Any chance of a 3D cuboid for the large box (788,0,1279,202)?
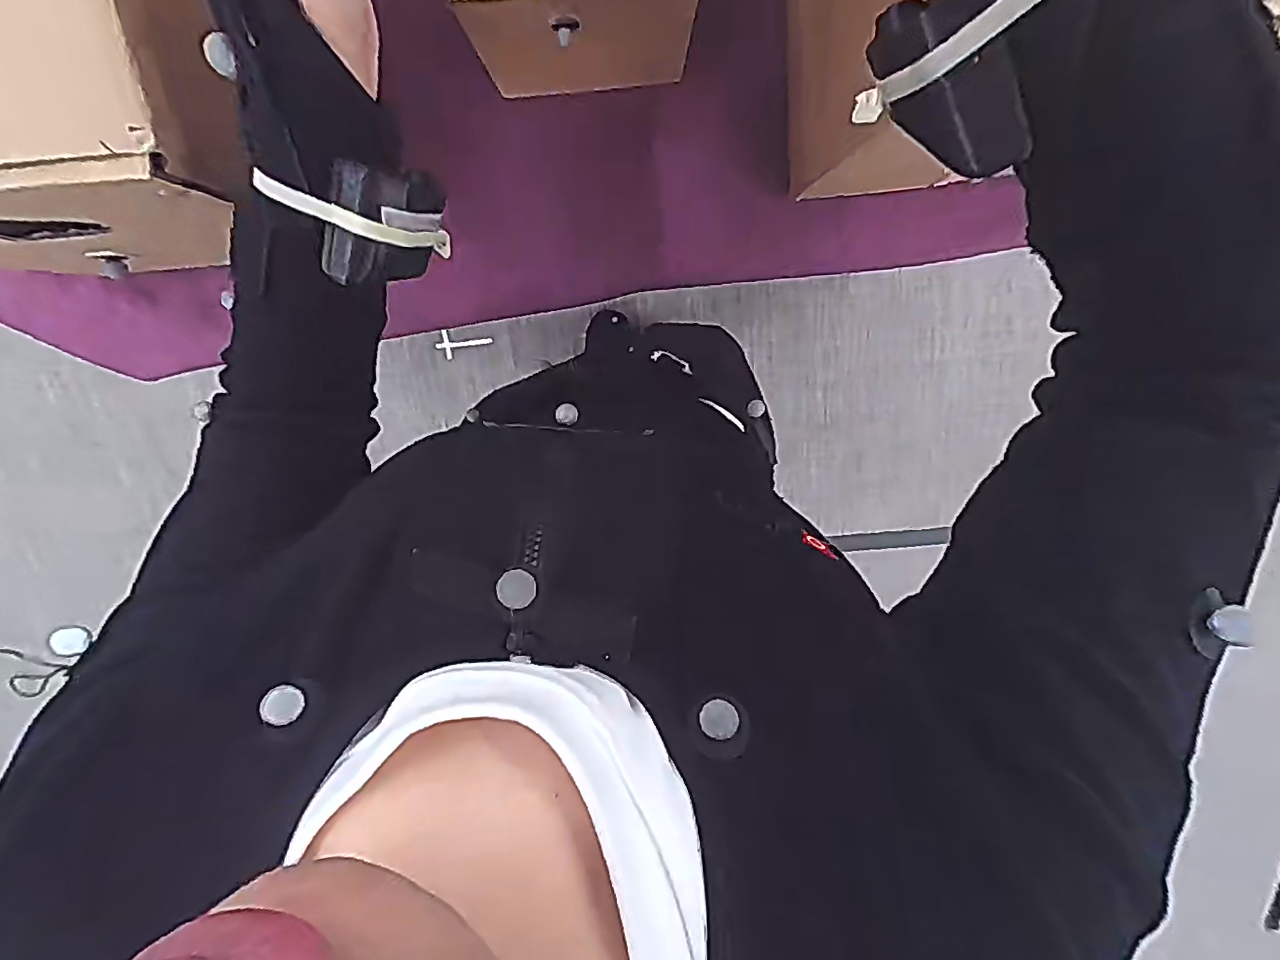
[{"bbox_3d":[0.283,-0.448,0.348,0.320,0.320,0.408,-6,105,0],"label":"large box"}]
